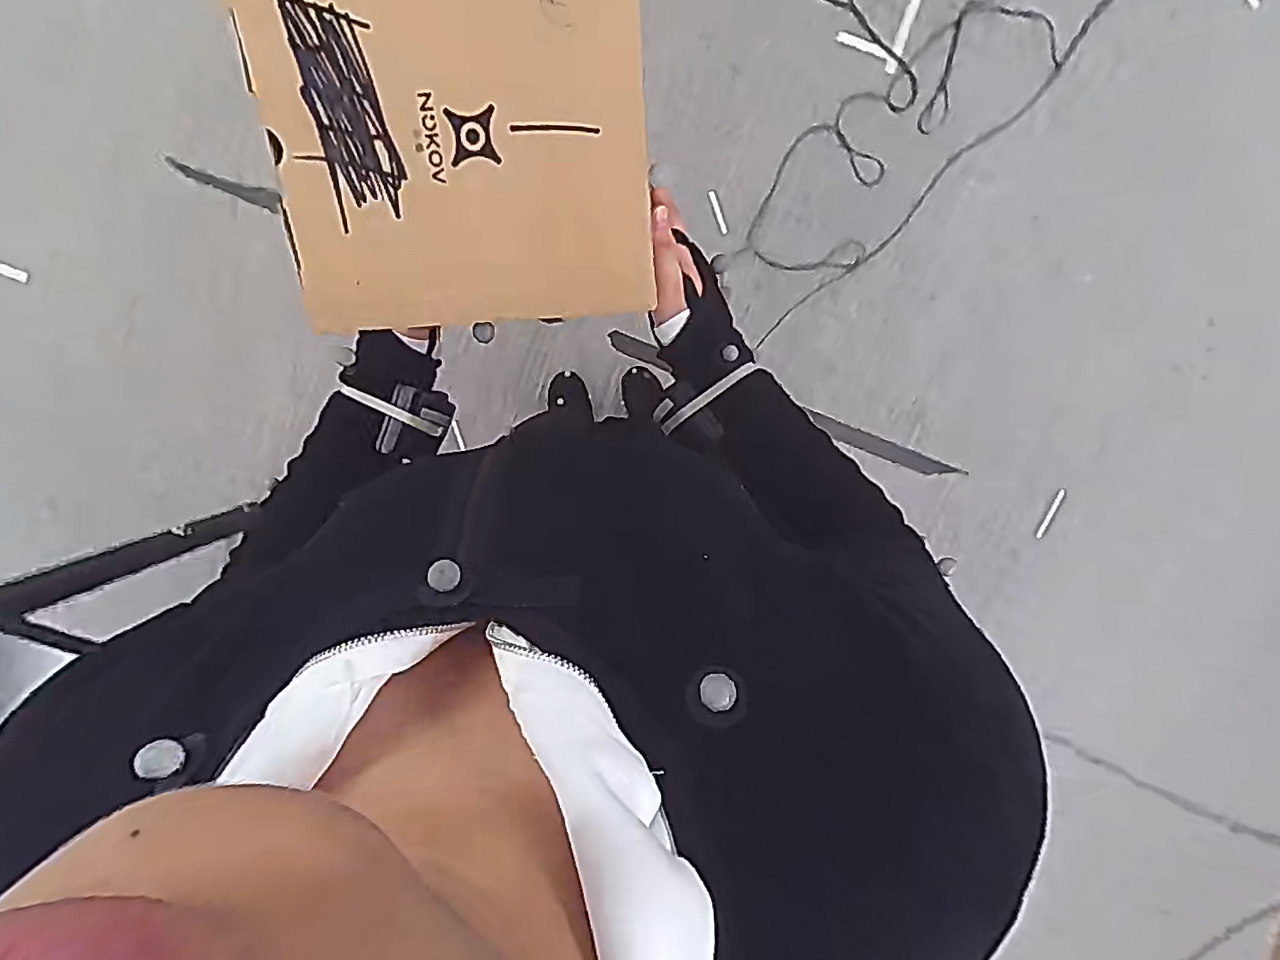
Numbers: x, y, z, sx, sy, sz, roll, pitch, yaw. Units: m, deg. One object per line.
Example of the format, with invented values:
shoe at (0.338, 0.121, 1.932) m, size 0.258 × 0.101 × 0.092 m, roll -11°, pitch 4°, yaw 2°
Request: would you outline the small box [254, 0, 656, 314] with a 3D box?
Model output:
small box at (-0.080, -0.192, 0.328) m, size 0.179 × 0.176 × 0.168 m, roll -3°, pitch 111°, yaw 1°
